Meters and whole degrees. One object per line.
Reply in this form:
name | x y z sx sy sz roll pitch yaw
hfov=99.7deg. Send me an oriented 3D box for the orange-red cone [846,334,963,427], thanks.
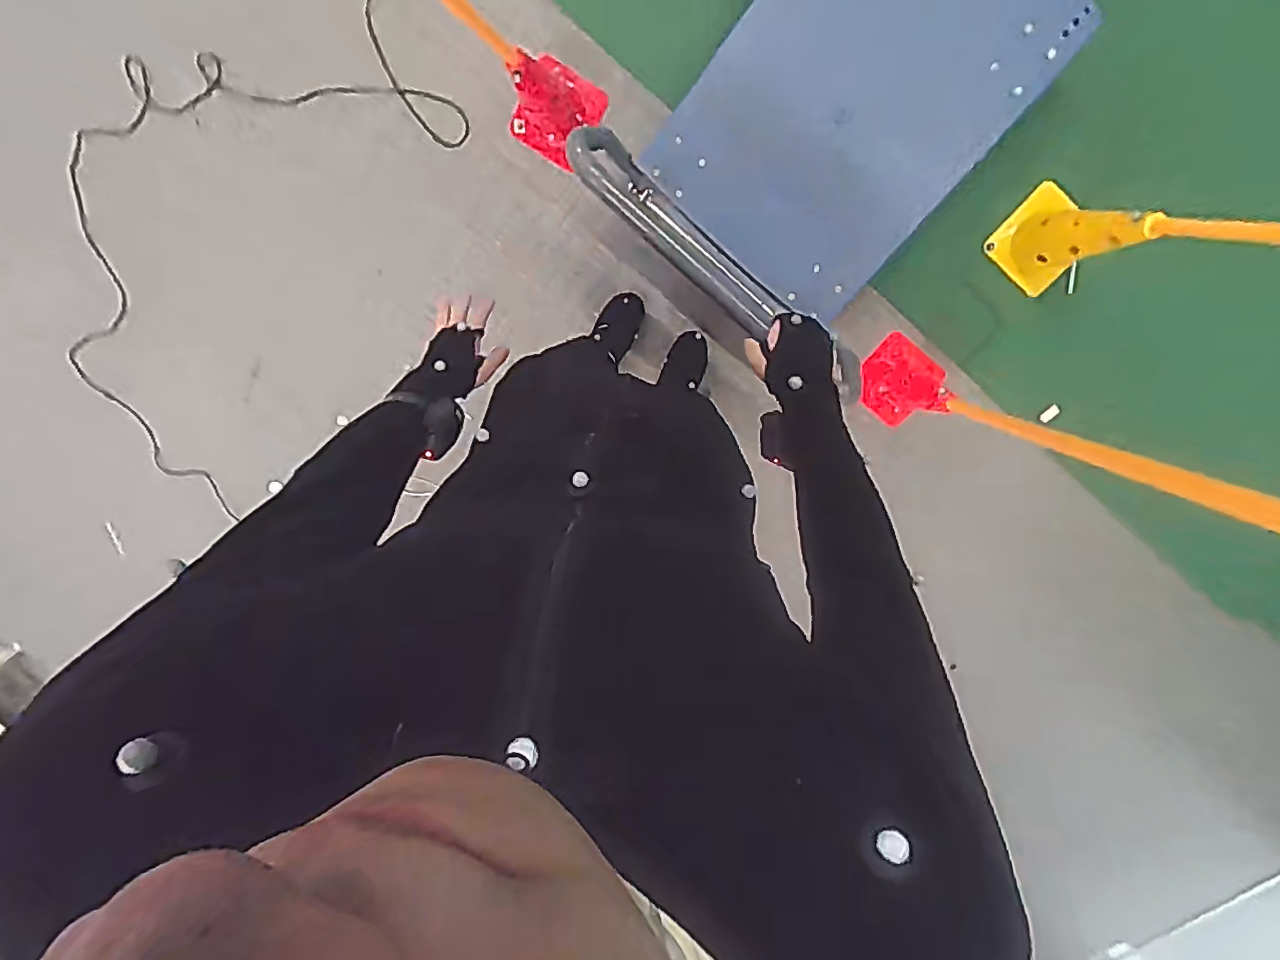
orange-red cone | 0.675 -0.213 1.301 0.198 0.360 0.199 38 107 -8
